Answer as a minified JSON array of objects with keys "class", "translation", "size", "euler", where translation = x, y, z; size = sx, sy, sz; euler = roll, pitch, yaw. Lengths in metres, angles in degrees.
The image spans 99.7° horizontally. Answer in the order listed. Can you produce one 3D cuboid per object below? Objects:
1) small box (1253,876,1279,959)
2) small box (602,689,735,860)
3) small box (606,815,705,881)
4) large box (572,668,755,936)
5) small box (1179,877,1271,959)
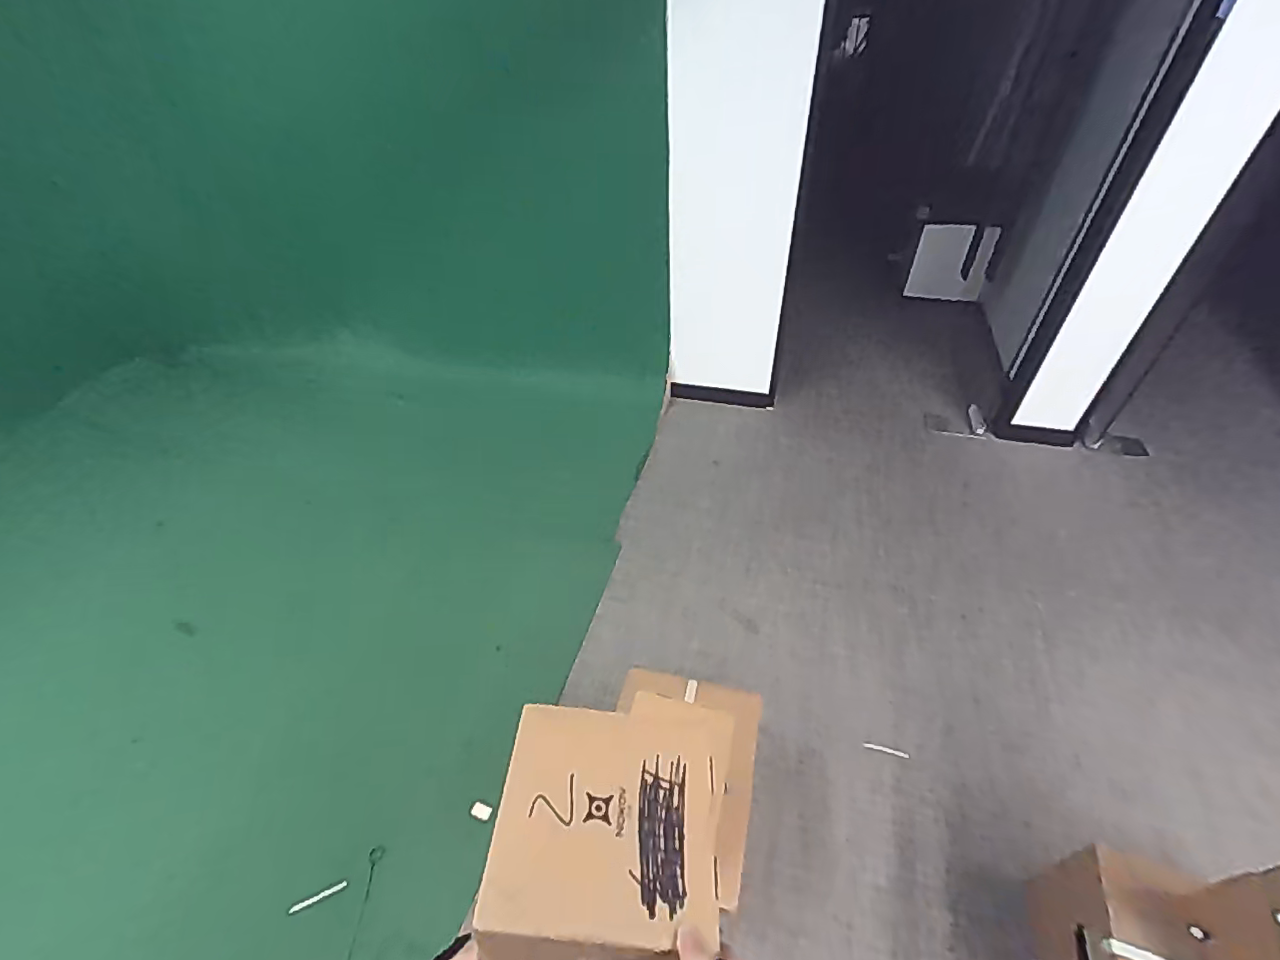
[{"class":"small box","translation":[0.955,0.610,0.675],"size":[0.179,0.176,0.168],"euler":[17,45,21]},{"class":"small box","translation":[0.051,0.474,0.868],"size":[0.168,0.176,0.179],"euler":[11,44,14]},{"class":"small box","translation":[0.050,0.592,0.985],"size":[0.168,0.176,0.179],"euler":[11,44,14]},{"class":"large box","translation":[0.073,0.709,1.214],"size":[0.320,0.320,0.408],"euler":[9,44,13]},{"class":"small box","translation":[0.958,0.729,0.788],"size":[0.179,0.176,0.168],"euler":[16,45,20]}]
